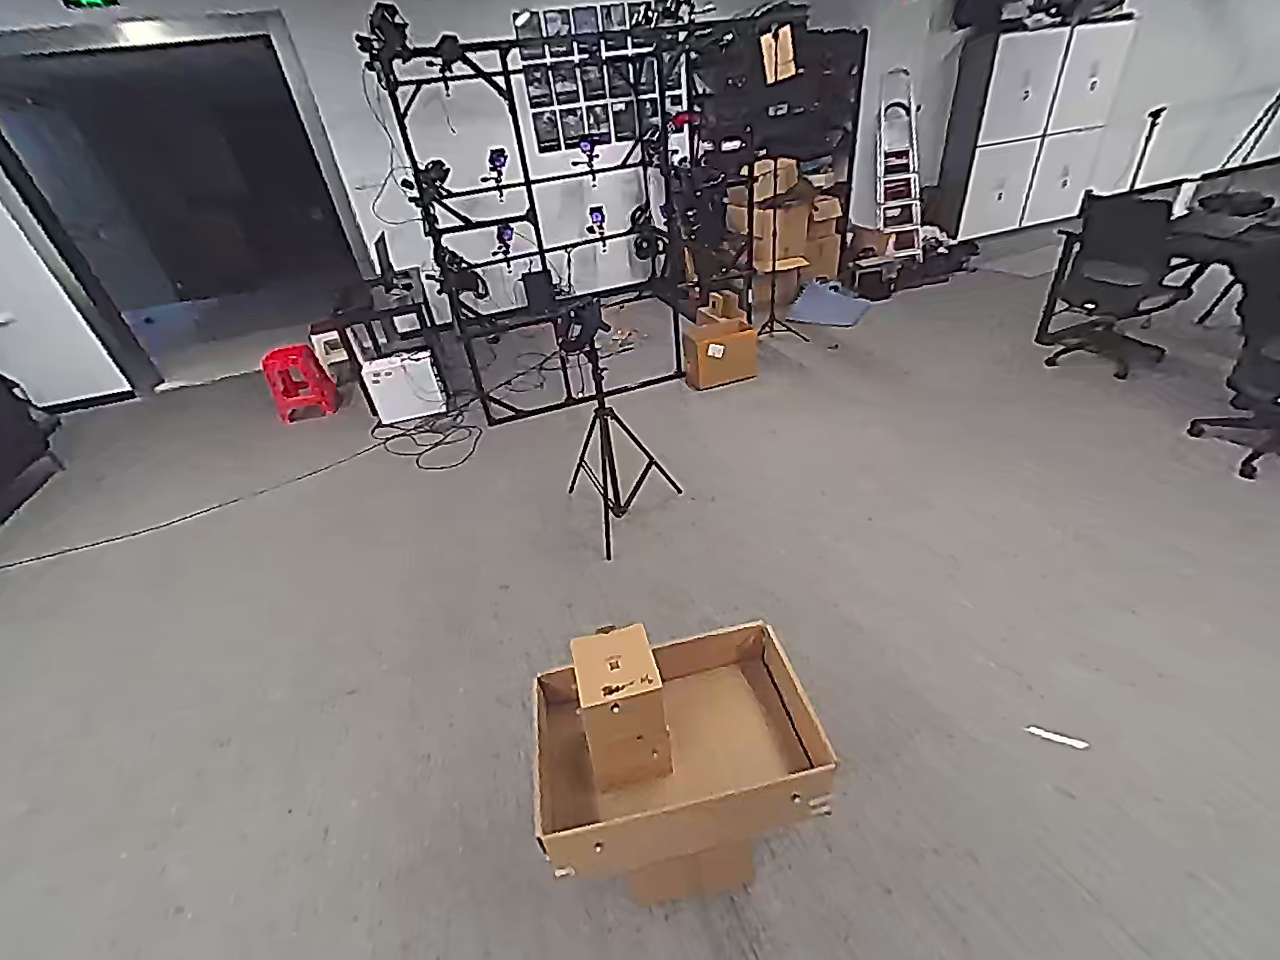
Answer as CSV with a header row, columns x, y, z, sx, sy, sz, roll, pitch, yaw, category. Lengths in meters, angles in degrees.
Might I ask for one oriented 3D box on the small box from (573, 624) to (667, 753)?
x,y,z,sx,sy,sz,roll,pitch,yaw,category
-0.044,0.444,1.157,0.168,0.176,0.179,-11,33,-8,small box
